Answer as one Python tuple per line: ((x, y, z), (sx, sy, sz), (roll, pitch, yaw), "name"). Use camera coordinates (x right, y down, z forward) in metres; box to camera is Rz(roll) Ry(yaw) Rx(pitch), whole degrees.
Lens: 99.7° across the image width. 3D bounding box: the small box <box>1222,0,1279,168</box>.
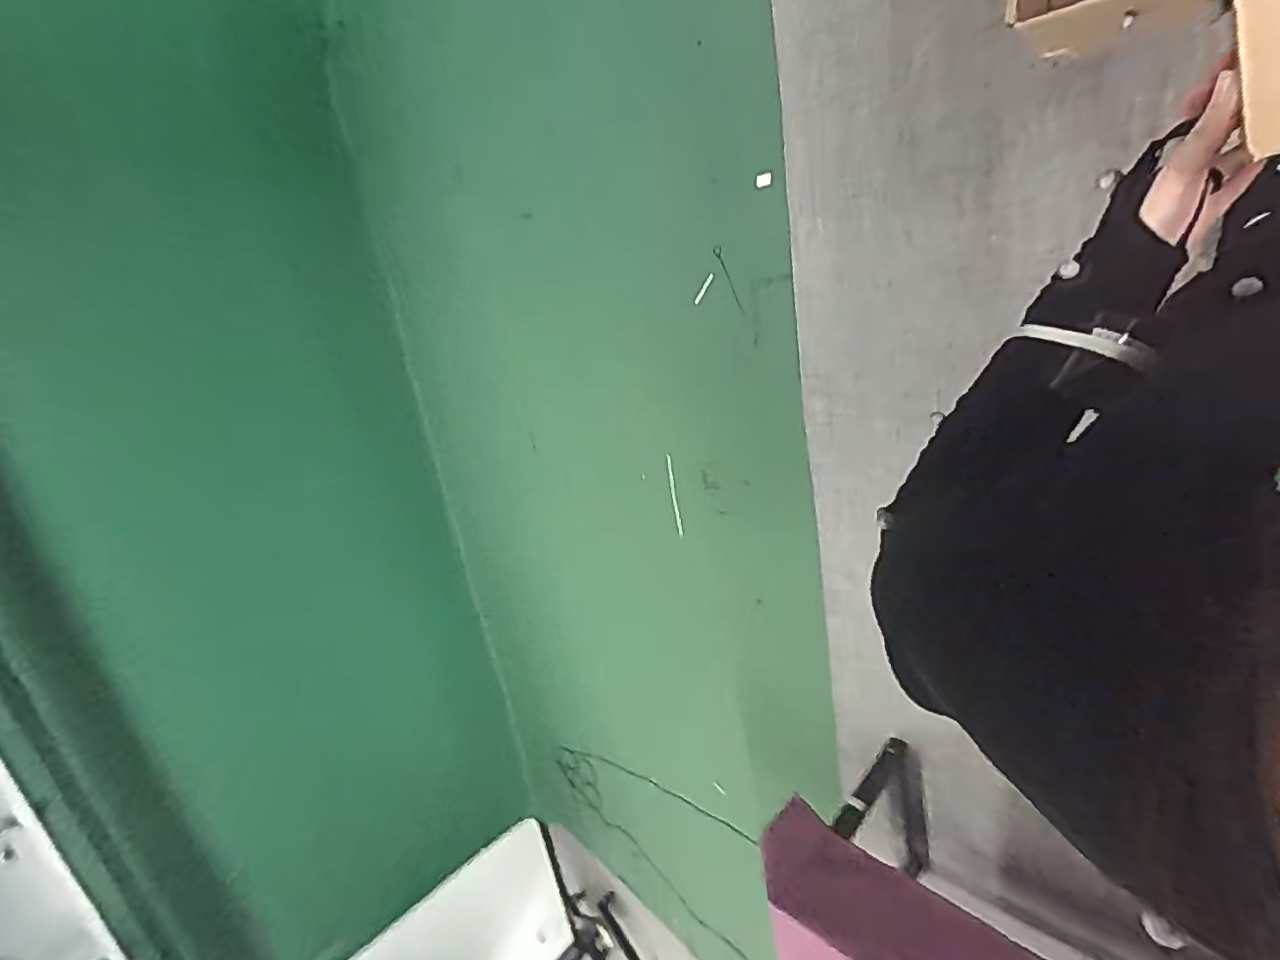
((0.400, -0.287, 0.258), (0.168, 0.176, 0.179), (-6, 113, 49), "small box")
